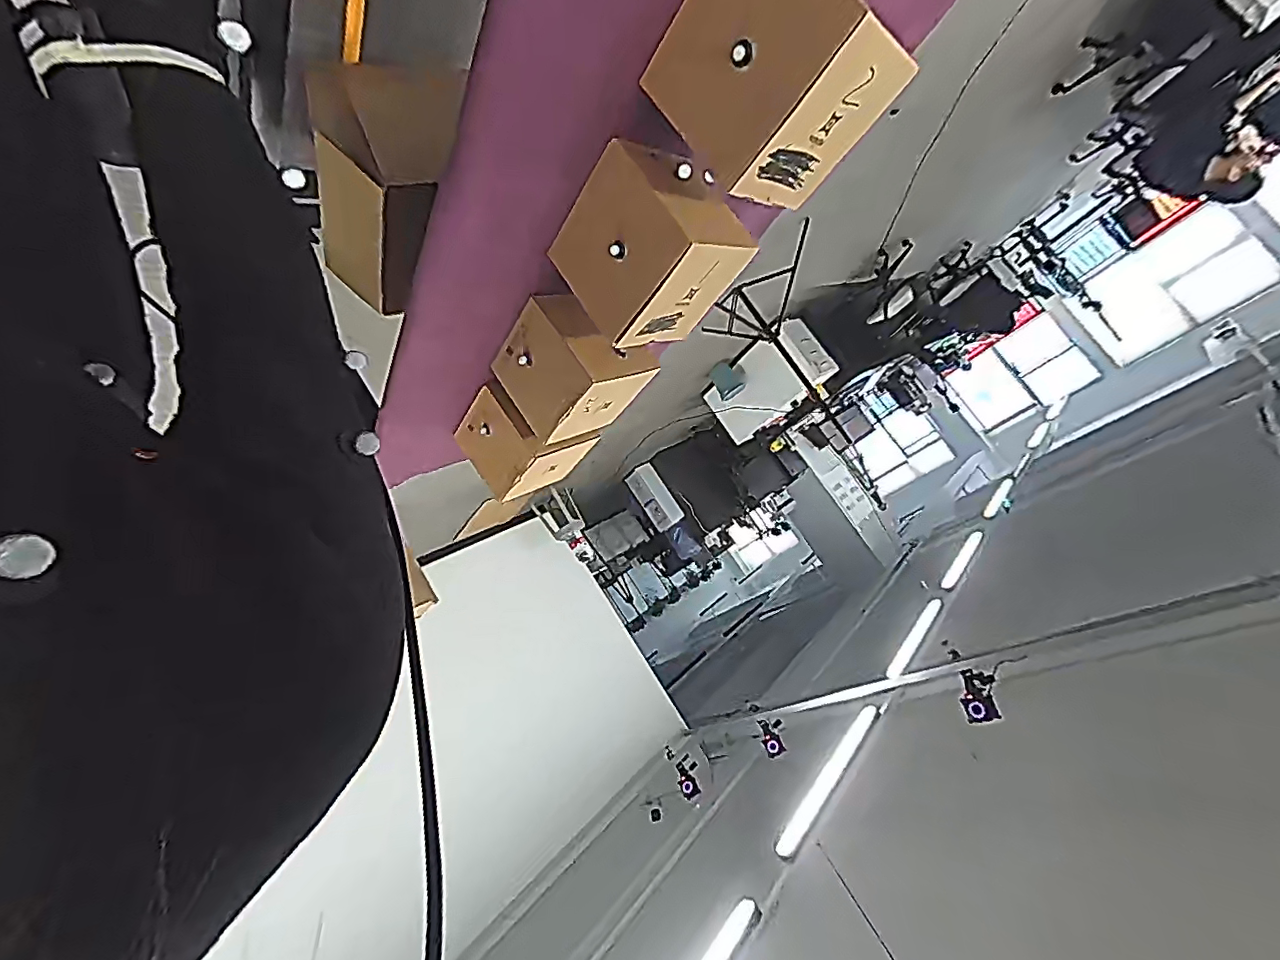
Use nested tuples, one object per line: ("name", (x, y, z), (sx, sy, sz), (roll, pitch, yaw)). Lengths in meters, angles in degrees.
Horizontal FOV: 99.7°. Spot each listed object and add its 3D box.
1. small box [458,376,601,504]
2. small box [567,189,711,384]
("small box", (-0.215, -0.084, 1.043), (0.179, 0.176, 0.168), (-25, 167, -48))
("small box", (-0.004, -0.263, 0.760), (0.168, 0.176, 0.179), (10, 148, -11))
